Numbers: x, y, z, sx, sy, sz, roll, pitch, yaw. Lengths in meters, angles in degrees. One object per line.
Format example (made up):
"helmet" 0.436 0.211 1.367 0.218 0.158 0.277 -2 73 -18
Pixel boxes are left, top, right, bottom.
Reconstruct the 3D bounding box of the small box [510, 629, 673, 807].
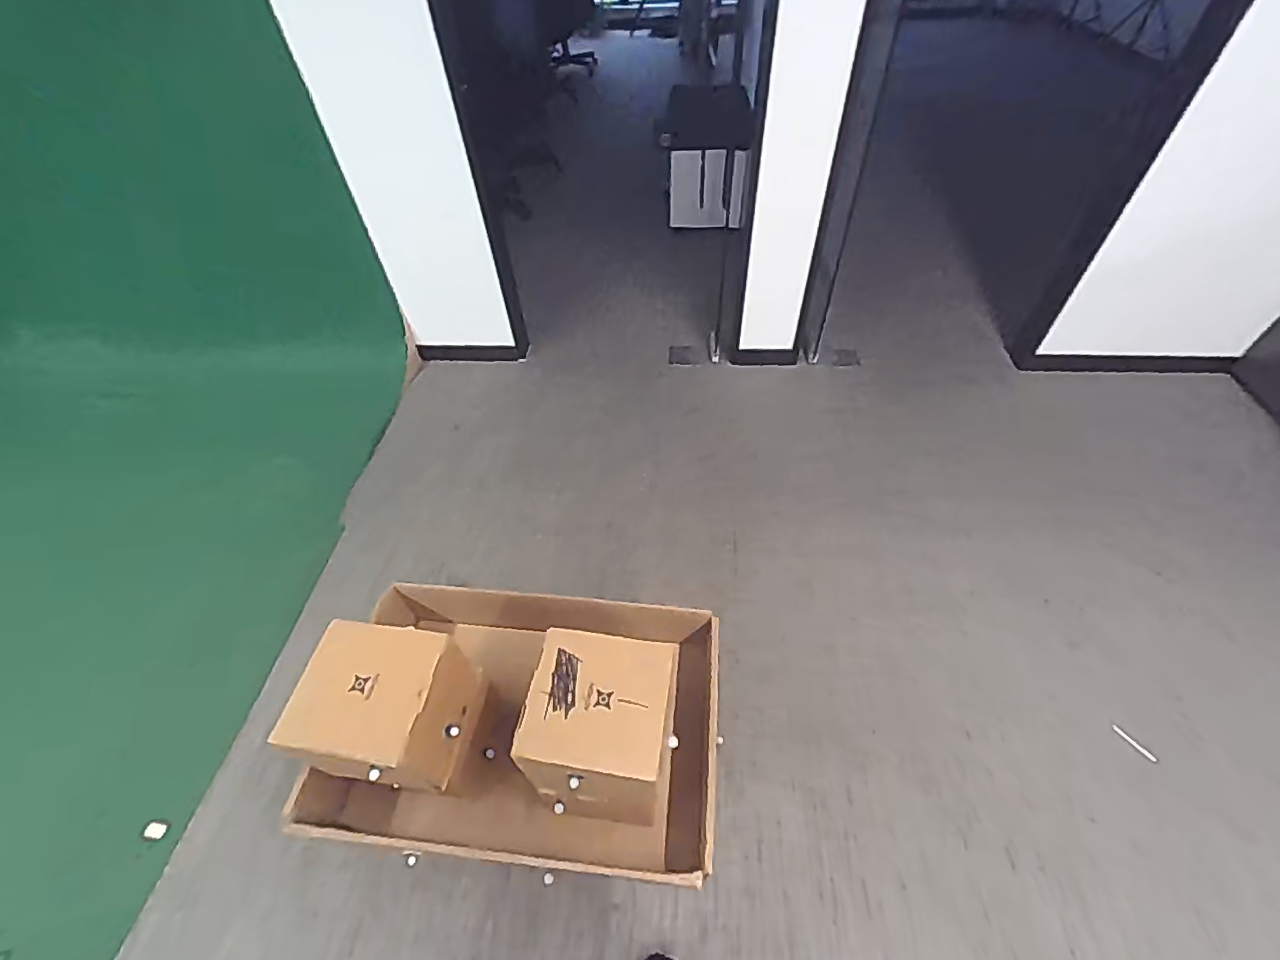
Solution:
"small box" -0.052 0.323 0.730 0.179 0.176 0.168 6 50 8

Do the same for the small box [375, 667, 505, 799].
"small box" -0.344 0.410 0.891 0.179 0.176 0.168 6 51 7

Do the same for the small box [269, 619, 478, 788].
"small box" -0.353 0.316 0.758 0.179 0.176 0.168 6 51 7
